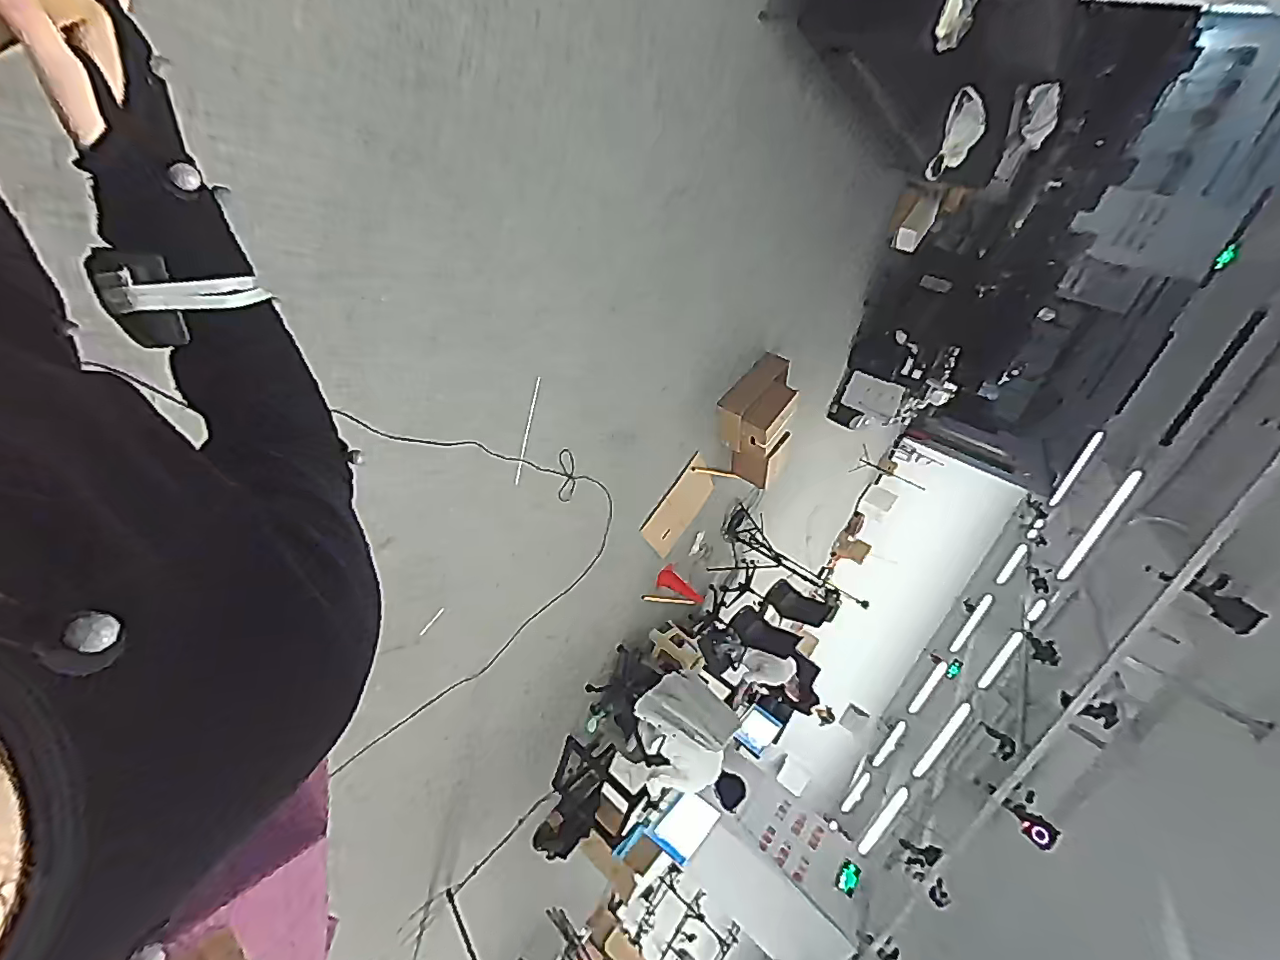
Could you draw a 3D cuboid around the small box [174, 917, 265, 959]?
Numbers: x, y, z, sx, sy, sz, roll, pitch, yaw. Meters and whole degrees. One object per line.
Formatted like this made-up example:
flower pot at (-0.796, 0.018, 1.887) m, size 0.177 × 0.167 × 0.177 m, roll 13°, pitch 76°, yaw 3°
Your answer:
small box at (-0.845, 1.026, 1.060) m, size 0.179 × 0.176 × 0.168 m, roll -17°, pitch 130°, yaw -53°
